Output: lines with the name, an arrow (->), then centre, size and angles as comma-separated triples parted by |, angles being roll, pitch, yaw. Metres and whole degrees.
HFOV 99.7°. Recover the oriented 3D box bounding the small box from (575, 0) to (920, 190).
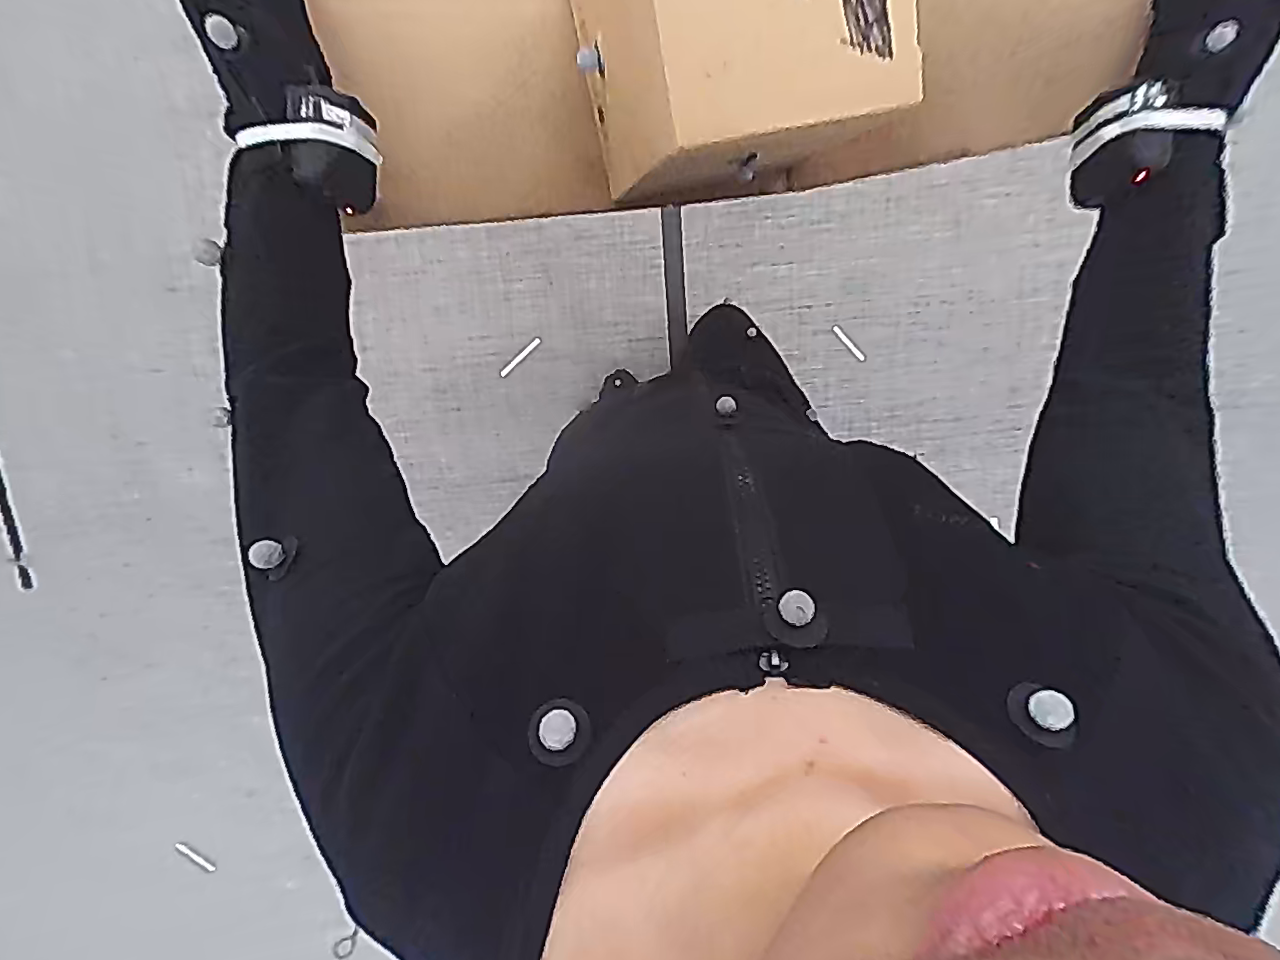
small box -> 0.064, -0.324, 0.383 | 0.179, 0.176, 0.168 | -17, 110, -11
